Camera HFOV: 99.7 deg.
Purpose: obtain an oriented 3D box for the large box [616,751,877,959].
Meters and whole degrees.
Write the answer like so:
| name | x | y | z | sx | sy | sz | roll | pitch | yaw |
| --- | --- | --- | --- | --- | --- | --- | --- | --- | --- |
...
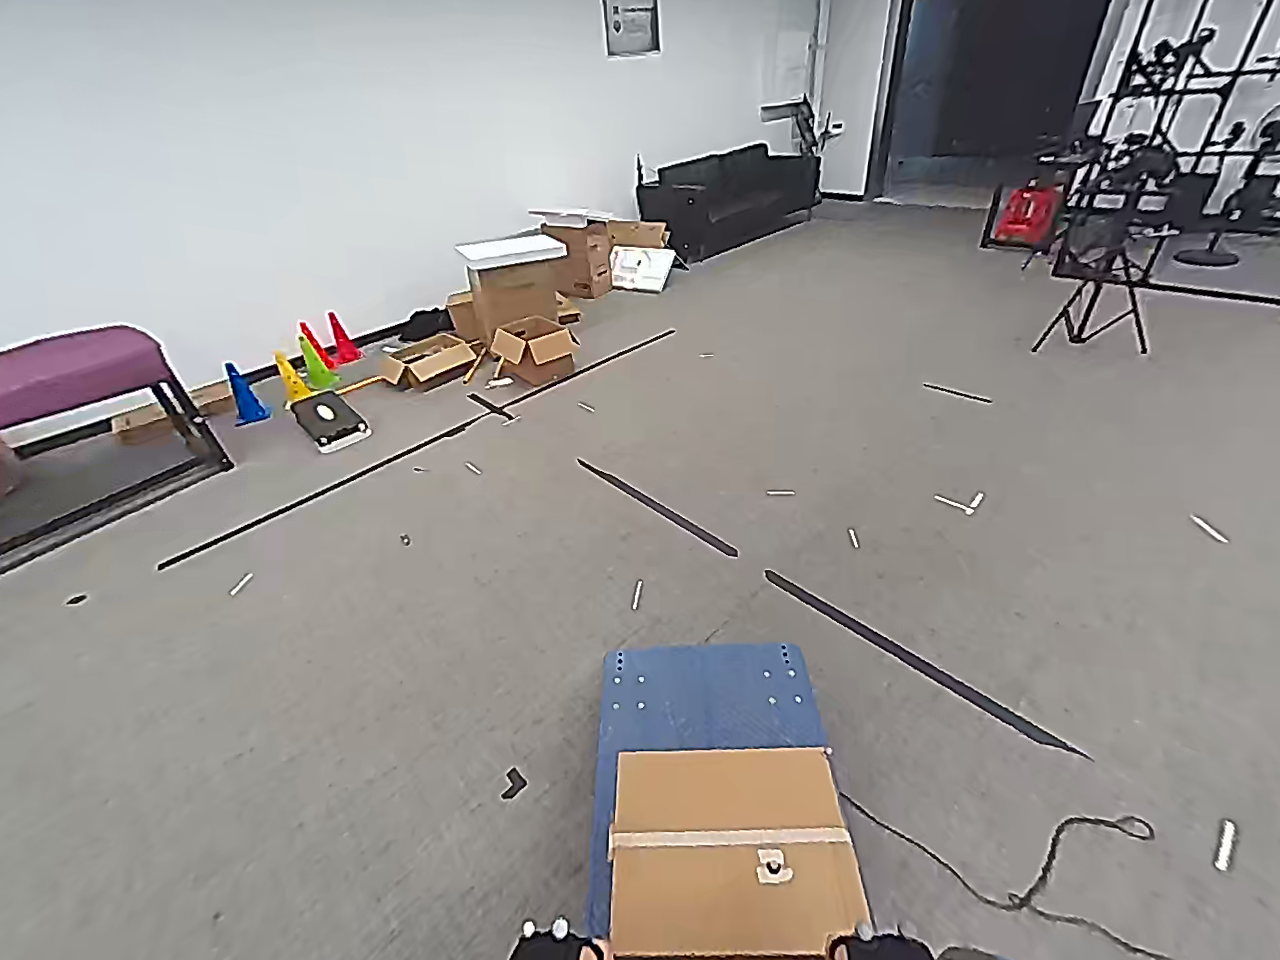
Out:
| name | x | y | z | sx | sy | sz | roll | pitch | yaw |
| --- | --- | --- | --- | --- | --- | --- | --- | --- | --- |
| large box | 0.167 | 0.748 | 1.021 | 0.408 | 0.320 | 0.320 | -3 | 37 | 2 |
